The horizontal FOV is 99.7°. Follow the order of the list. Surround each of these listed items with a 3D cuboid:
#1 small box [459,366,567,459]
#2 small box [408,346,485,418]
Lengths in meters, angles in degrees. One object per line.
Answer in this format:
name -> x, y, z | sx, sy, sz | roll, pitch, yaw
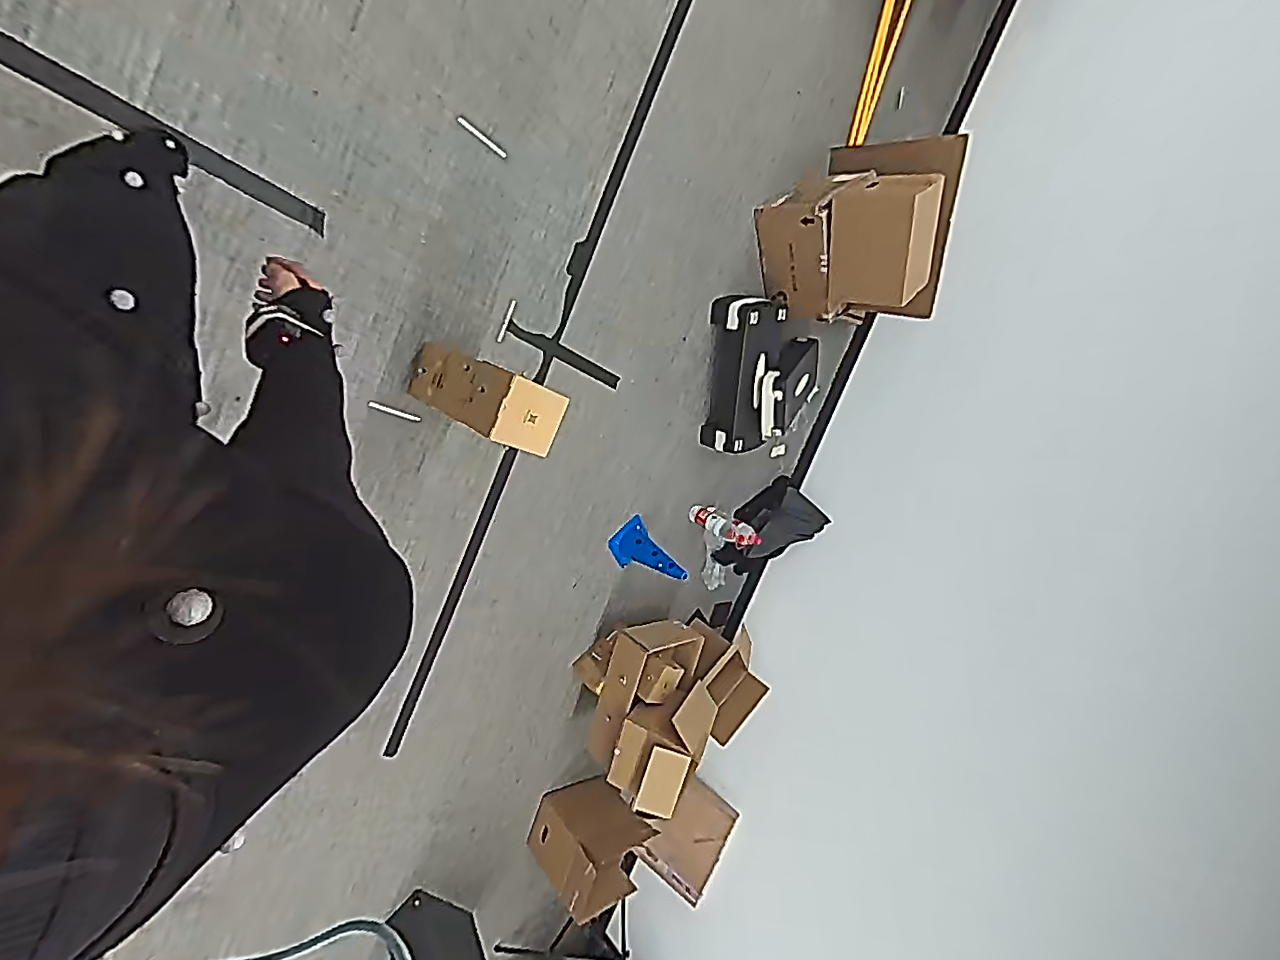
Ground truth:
small box -> -0.324, -0.174, 1.369 | 0.179, 0.176, 0.168 | 19, 97, -47
small box -> -0.546, -0.281, 1.585 | 0.179, 0.176, 0.168 | 14, 99, -46
